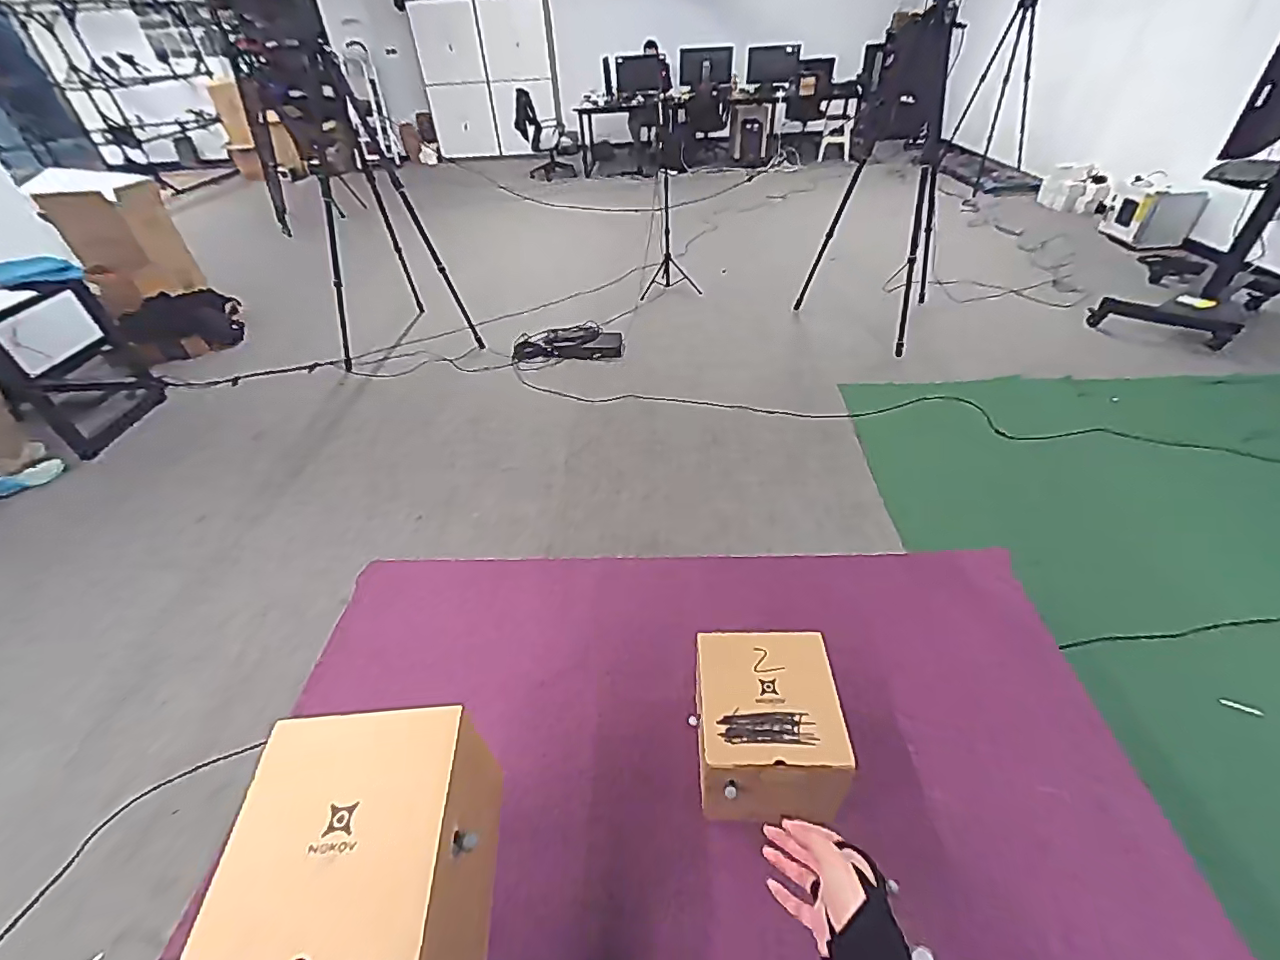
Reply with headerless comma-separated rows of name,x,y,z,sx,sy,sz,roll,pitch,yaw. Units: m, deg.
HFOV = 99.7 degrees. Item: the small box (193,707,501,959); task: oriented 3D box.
small box,-0.230,0.329,0.488,0.168,0.176,0.179,-5,46,0
